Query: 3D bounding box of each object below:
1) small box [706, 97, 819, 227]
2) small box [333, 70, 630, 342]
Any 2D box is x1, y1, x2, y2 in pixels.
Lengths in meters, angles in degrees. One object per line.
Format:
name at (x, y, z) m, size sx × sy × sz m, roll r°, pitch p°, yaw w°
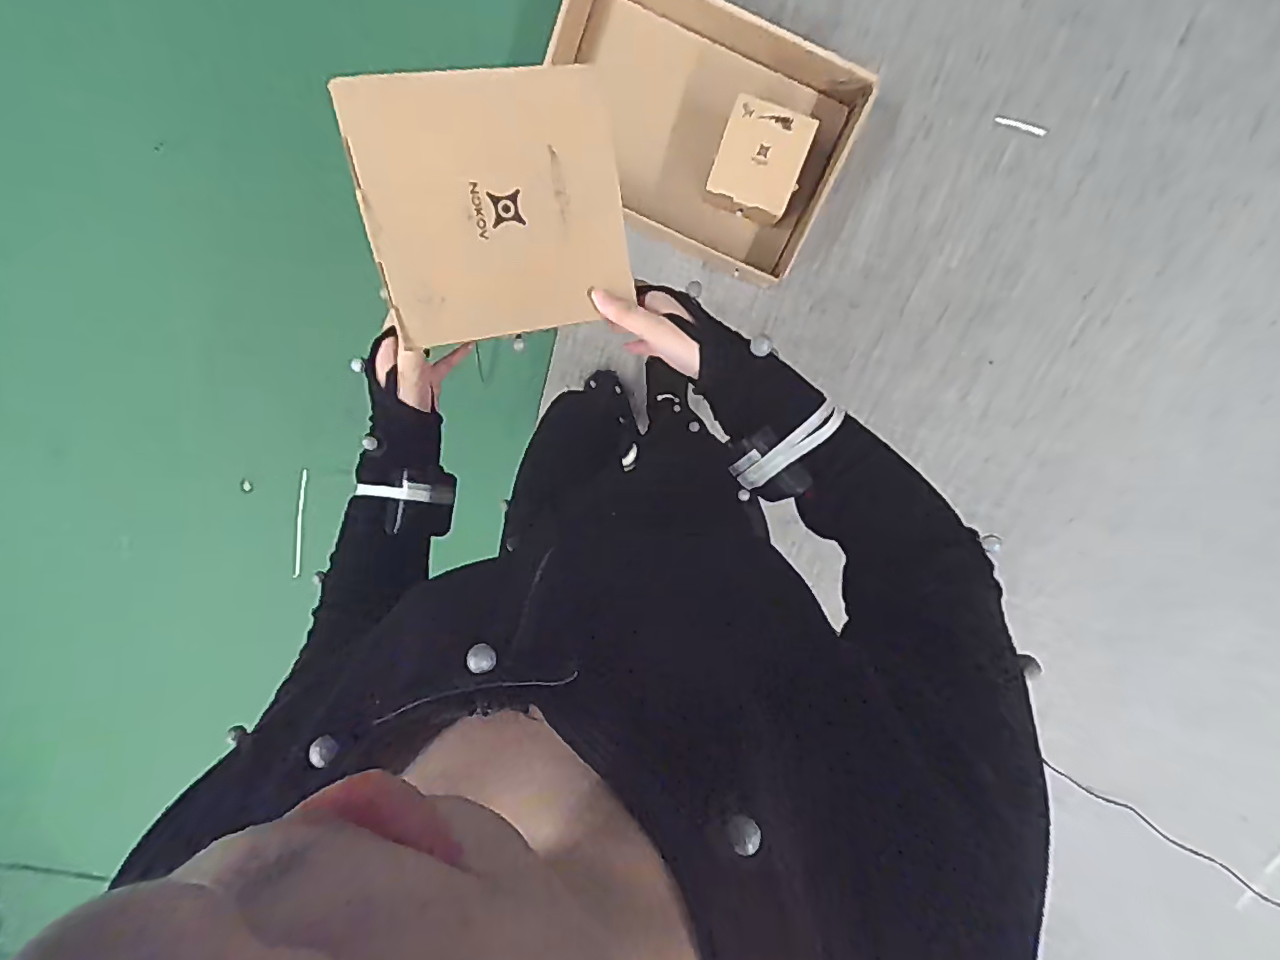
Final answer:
small box at (0.246, -0.643, 1.120) m, size 0.168 × 0.176 × 0.179 m, roll 20°, pitch 110°, yaw 0°
small box at (-0.120, -0.208, 0.452) m, size 0.179 × 0.176 × 0.168 m, roll -12°, pitch 108°, yaw -12°
